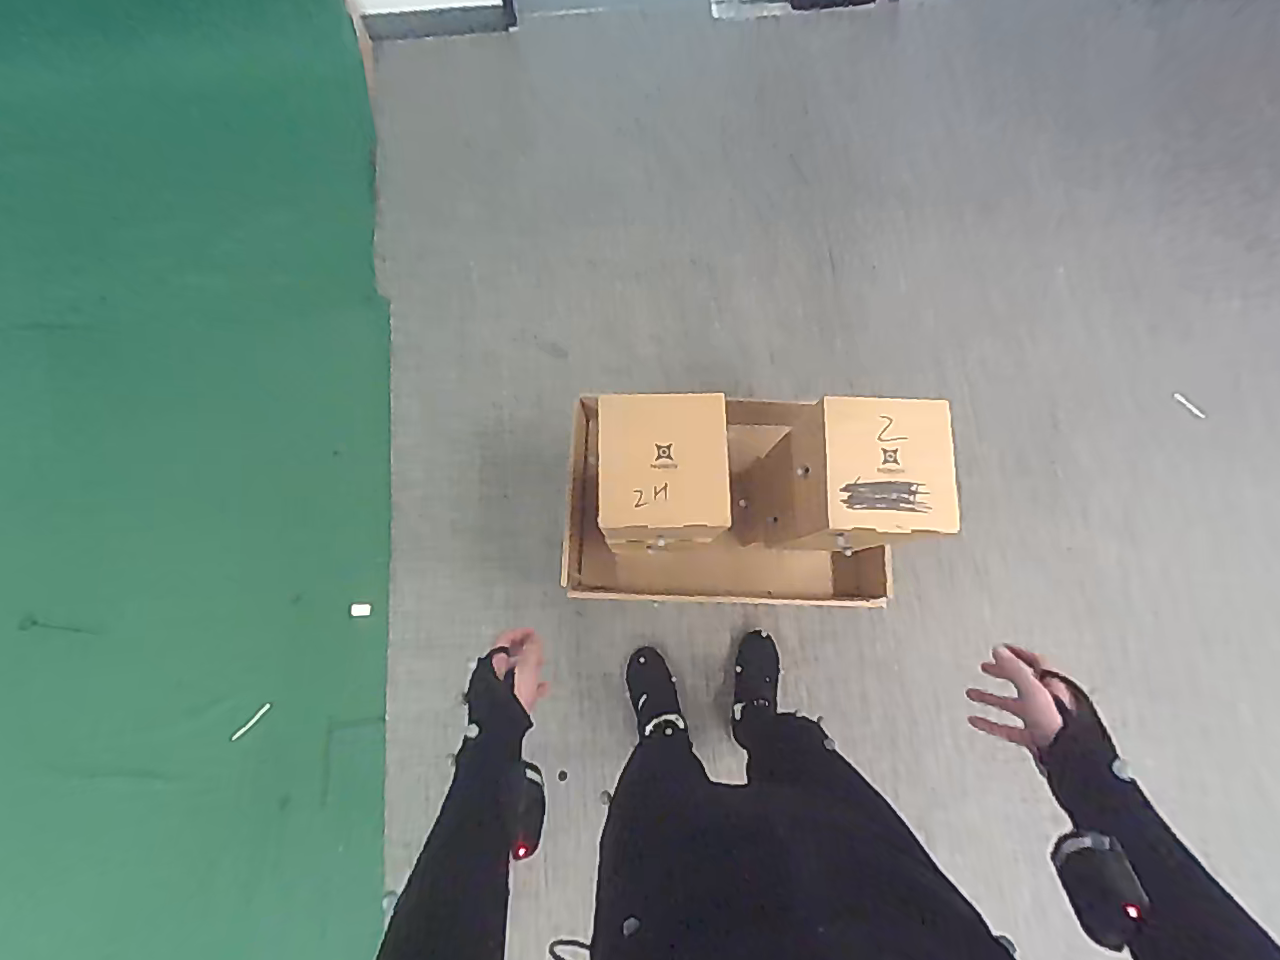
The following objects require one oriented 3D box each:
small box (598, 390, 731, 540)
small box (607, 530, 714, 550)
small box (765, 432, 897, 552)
[{"bbox_3d":[0.029,-0.013,0.752,0.168,0.176,0.179,0,79,0],"label":"small box"},{"bbox_3d":[0.029,0.024,0.911,0.168,0.176,0.179,-1,79,0],"label":"small box"},{"bbox_3d":[0.311,0.028,0.910,0.168,0.176,0.179,2,78,0],"label":"small box"}]
